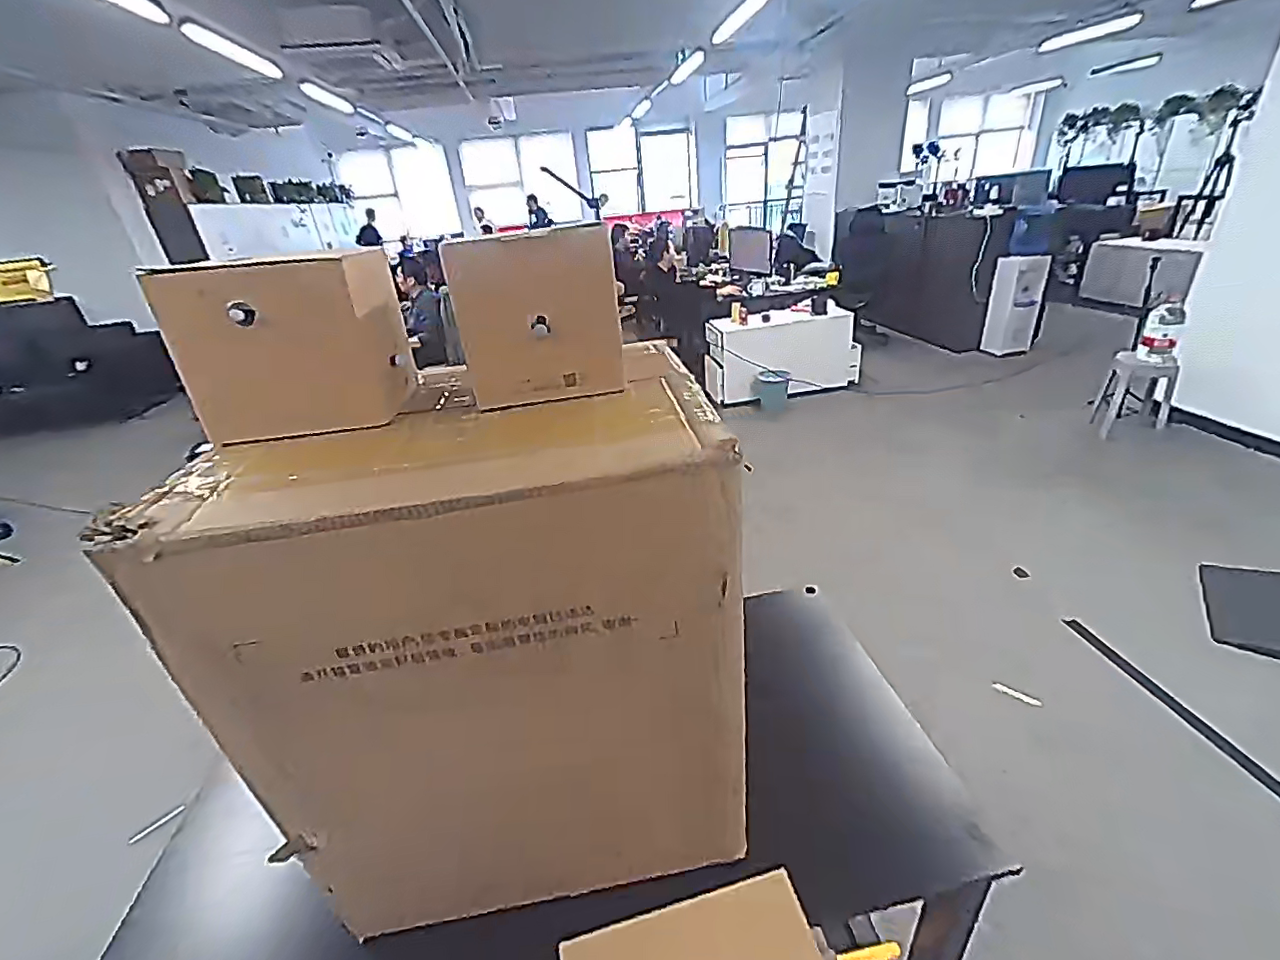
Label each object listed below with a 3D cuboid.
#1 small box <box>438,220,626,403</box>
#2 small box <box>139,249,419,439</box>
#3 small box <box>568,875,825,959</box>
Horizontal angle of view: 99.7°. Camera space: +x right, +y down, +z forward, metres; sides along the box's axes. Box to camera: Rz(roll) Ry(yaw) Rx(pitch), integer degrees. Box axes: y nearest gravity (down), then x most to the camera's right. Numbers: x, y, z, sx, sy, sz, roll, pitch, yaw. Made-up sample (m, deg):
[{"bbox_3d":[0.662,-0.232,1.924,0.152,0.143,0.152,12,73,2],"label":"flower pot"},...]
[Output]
[{"bbox_3d":[-0.112,-0.194,0.622,0.168,0.176,0.179,-9,27,-4],"label":"small box"},{"bbox_3d":[-0.365,-0.152,0.592,0.179,0.176,0.168,-7,27,-6],"label":"small box"},{"bbox_3d":[0.057,0.408,0.341,0.168,0.176,0.179,-14,29,-8],"label":"small box"}]
